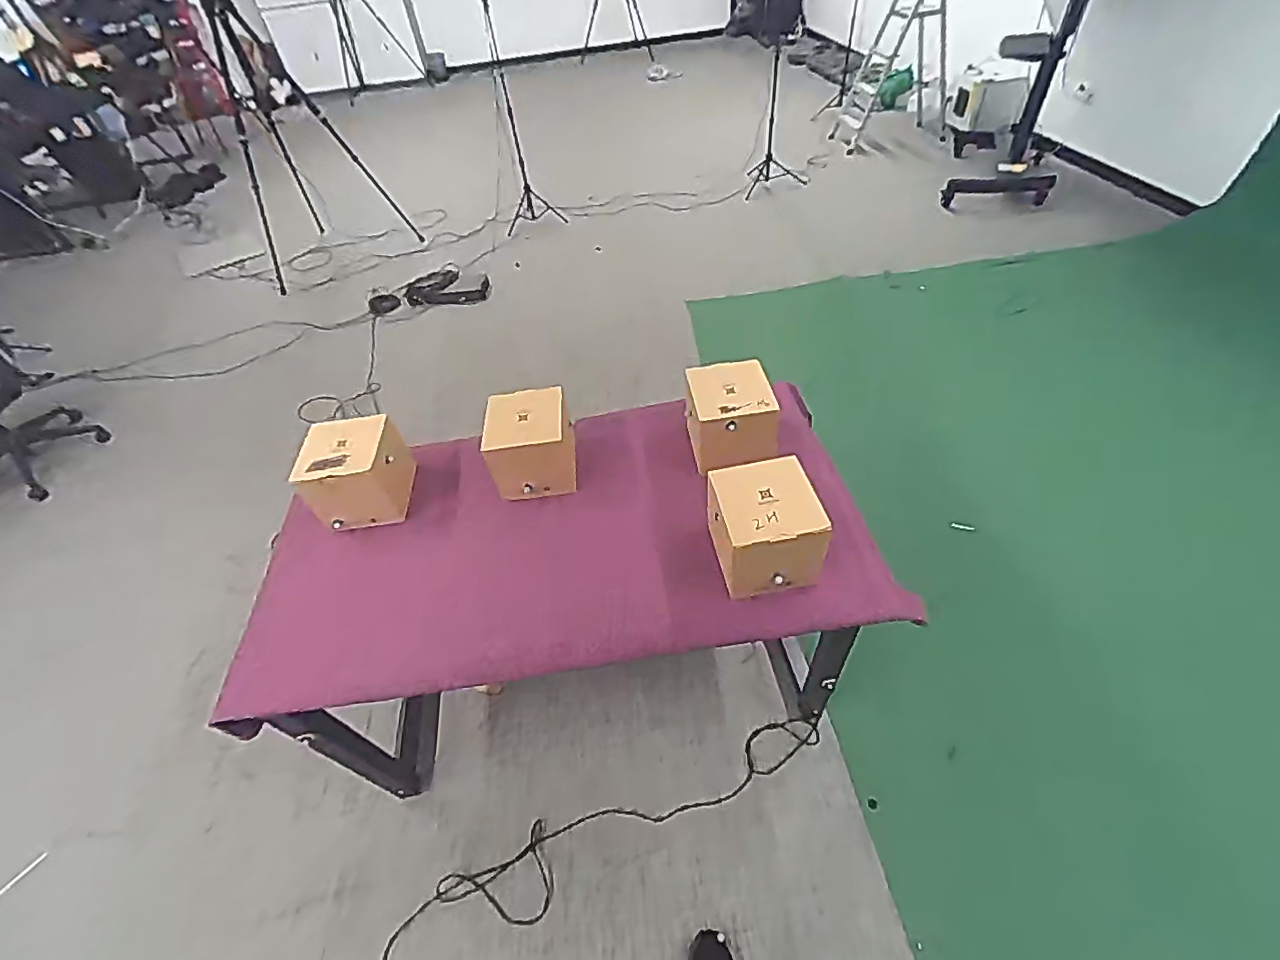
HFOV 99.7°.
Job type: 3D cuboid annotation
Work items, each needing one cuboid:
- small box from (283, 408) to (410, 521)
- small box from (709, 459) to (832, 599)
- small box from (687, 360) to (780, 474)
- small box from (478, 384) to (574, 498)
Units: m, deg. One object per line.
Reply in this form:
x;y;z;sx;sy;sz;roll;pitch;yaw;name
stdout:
-0.611;-0.026;1.153;0.168;0.176;0.179;-7;49;-2;small box
0.222;0.089;0.977;0.168;0.176;0.179;-10;49;-2;small box
0.194;-0.136;1.181;0.168;0.176;0.179;-8;49;-1;small box
-0.239;-0.084;1.177;0.168;0.176;0.179;-7;50;0;small box
